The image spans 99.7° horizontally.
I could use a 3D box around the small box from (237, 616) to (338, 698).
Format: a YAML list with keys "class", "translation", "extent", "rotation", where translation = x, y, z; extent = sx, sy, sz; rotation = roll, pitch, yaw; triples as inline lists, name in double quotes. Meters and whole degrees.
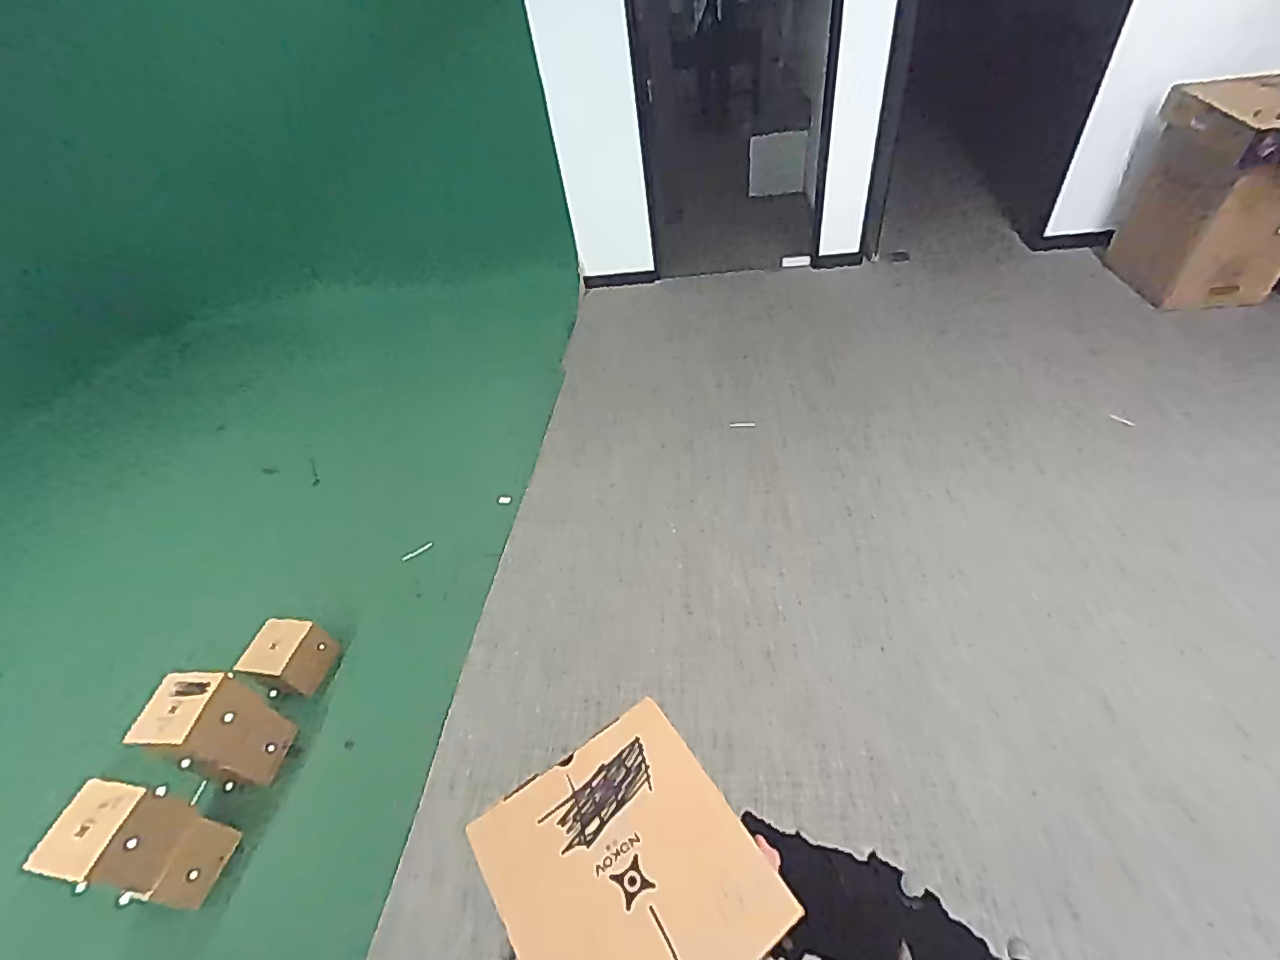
- class: "small box"
  translation: [-1.082, 0.550, 1.684]
  extent: [0.168, 0.176, 0.179]
  rotation: [2, 45, 13]

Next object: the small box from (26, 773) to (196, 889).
- class: "small box"
  translation: [-1.170, 0.791, 1.215]
  extent: [0.168, 0.176, 0.179]
  rotation: [2, 46, 12]

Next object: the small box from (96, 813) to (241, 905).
- class: "small box"
  translation: [-1.140, 0.914, 1.321]
  extent: [0.179, 0.176, 0.168]
  rotation: [3, 46, 13]

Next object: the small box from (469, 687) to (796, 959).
- class: "small box"
  translation: [-0.011, 0.309, 0.428]
  extent: [0.168, 0.176, 0.179]
  rotation: [-27, 52, -23]
